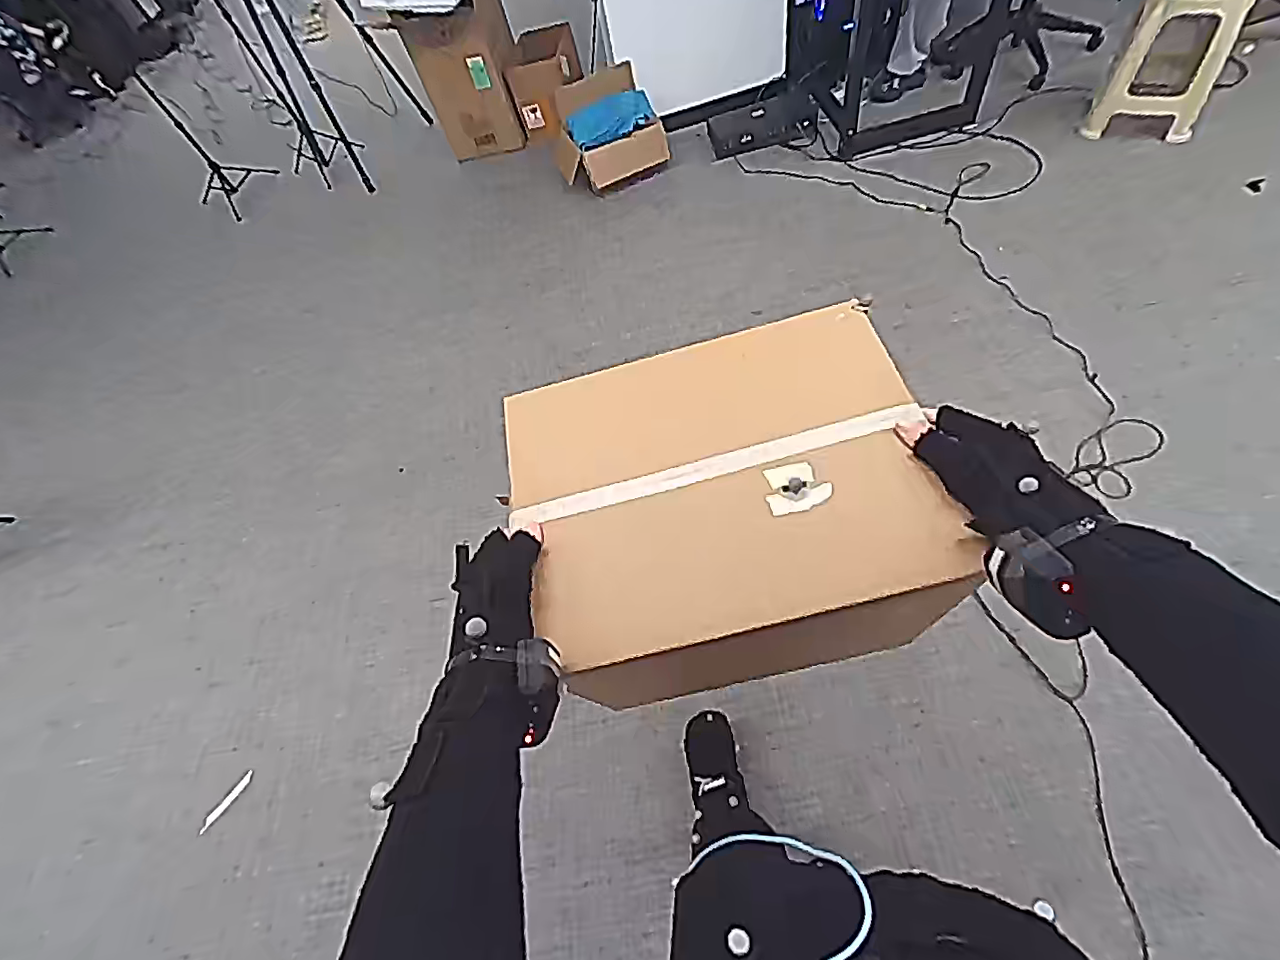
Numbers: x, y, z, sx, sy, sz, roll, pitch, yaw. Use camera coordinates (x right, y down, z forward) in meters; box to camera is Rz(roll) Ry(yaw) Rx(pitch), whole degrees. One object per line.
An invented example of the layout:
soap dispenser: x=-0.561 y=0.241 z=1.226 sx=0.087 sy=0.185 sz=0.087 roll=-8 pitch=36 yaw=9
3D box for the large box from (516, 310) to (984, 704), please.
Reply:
large box: x=0.100 y=0.058 z=0.672 sx=0.408 sy=0.320 sz=0.320 roll=-15 pitch=61 yaw=3
